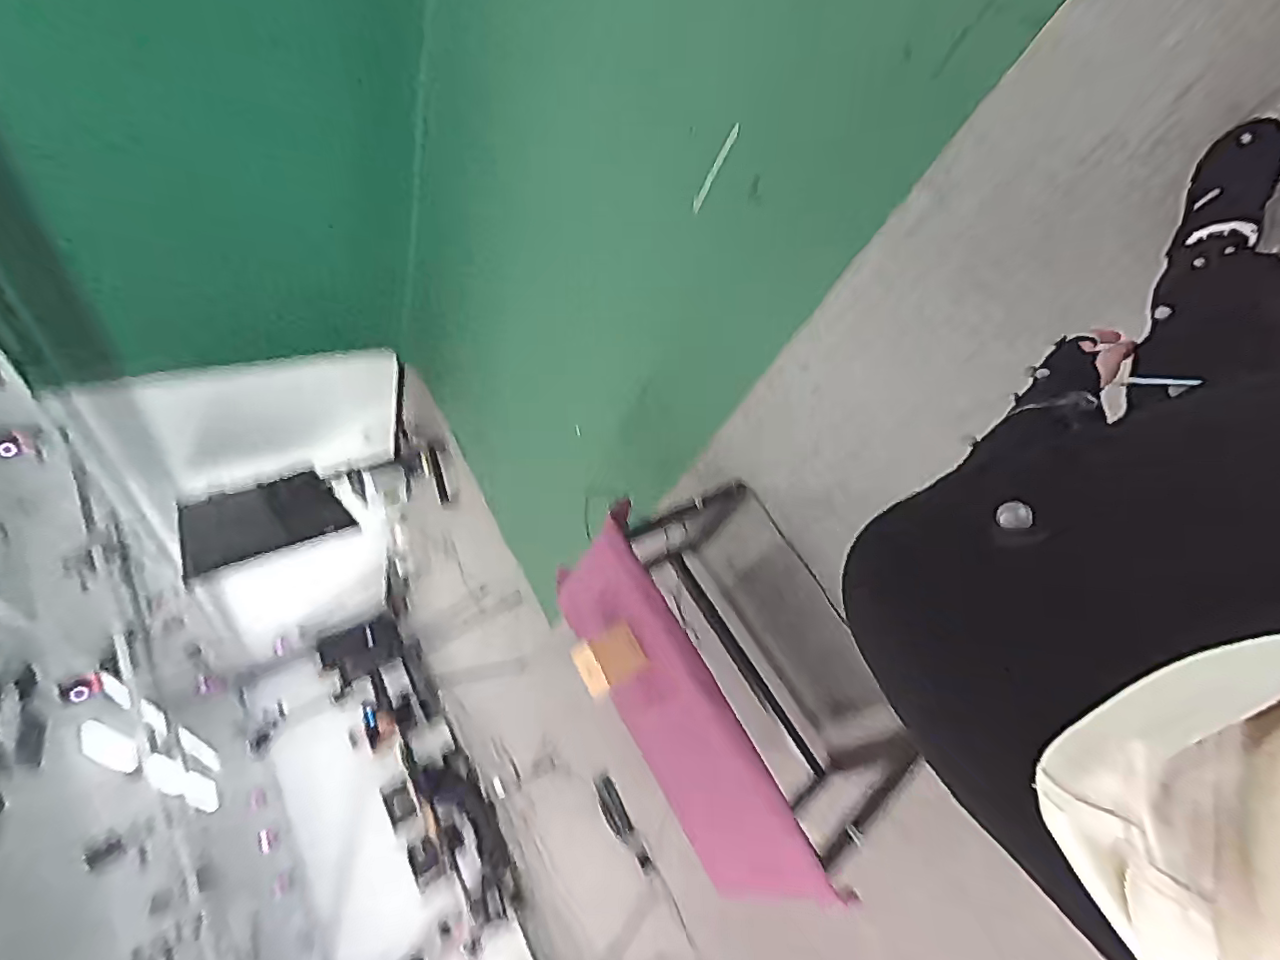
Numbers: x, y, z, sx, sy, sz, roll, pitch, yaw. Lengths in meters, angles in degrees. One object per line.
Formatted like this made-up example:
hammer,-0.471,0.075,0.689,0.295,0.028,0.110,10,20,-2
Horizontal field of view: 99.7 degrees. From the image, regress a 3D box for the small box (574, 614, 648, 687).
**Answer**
small box,-0.099,0.591,1.879,0.168,0.176,0.179,58,143,16
